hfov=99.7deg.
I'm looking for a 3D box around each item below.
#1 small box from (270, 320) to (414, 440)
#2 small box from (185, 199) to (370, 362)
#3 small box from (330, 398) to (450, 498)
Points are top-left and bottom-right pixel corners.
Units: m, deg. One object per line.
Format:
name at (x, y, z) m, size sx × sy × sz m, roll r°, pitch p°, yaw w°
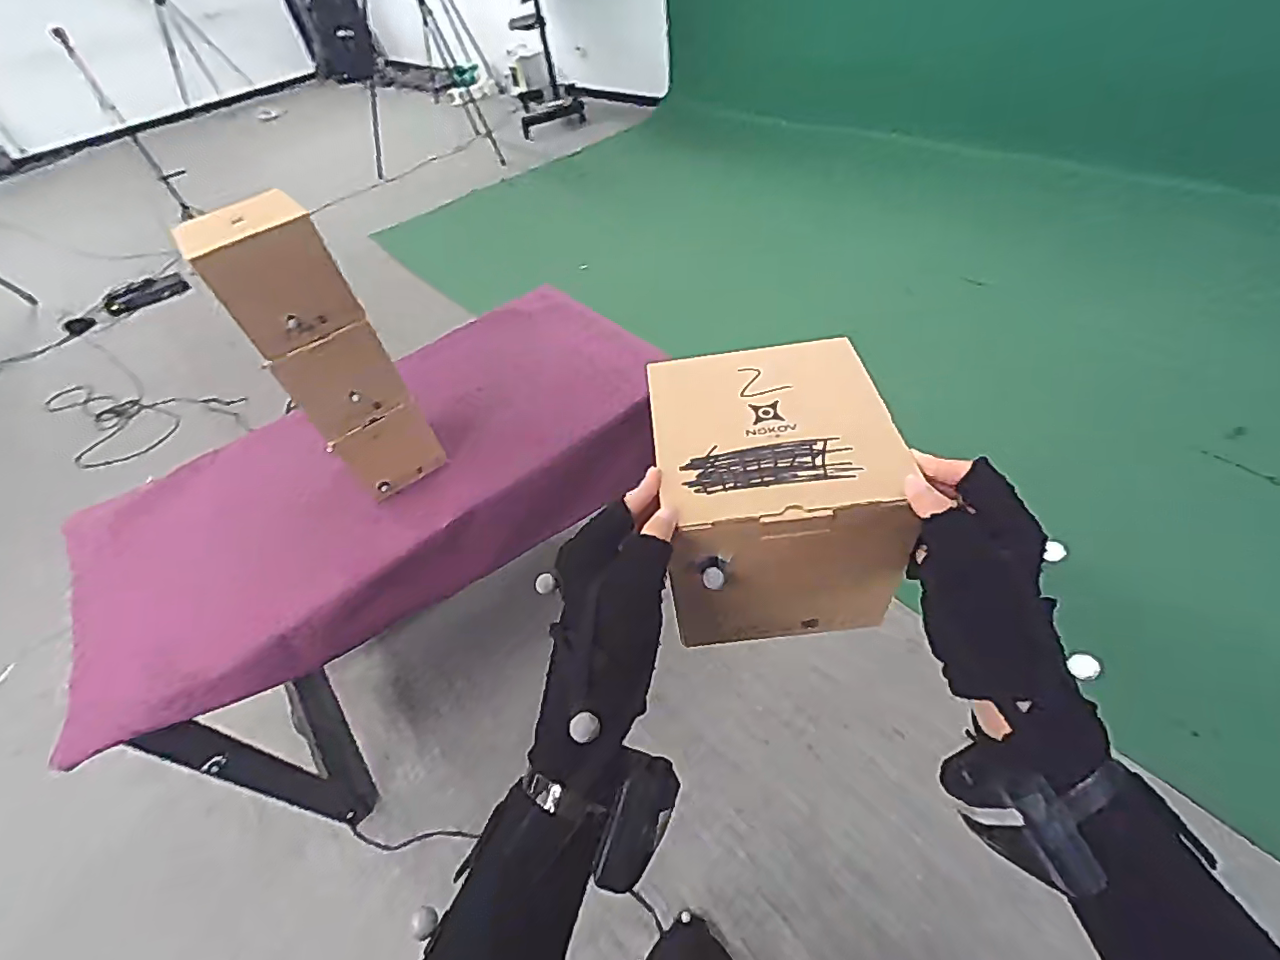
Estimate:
small box at (-0.539, -0.202, 0.969) m, size 0.168 × 0.176 × 0.179 m, roll -35°, pitch 51°, yaw -20°
small box at (-0.564, -0.314, 0.853) m, size 0.168 × 0.176 × 0.179 m, roll -35°, pitch 51°, yaw -20°
small box at (-0.511, -0.088, 1.085) m, size 0.168 × 0.176 × 0.179 m, roll -34°, pitch 50°, yaw -20°
